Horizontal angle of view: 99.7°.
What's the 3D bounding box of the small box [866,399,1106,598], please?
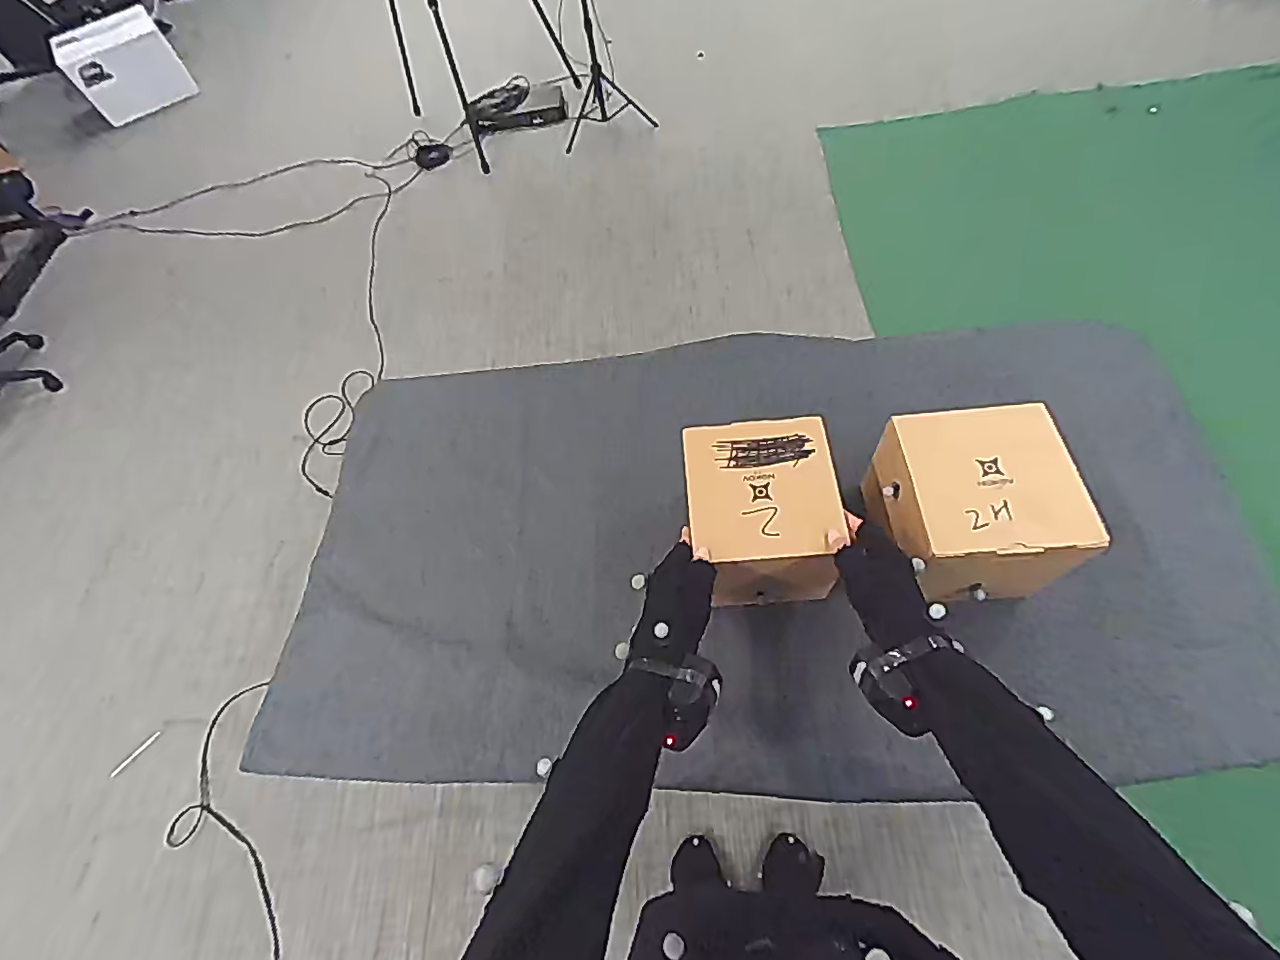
[{"bbox_3d":[0.383,0.028,0.644,0.168,0.176,0.179,-5,60,7],"label":"small box"}]
